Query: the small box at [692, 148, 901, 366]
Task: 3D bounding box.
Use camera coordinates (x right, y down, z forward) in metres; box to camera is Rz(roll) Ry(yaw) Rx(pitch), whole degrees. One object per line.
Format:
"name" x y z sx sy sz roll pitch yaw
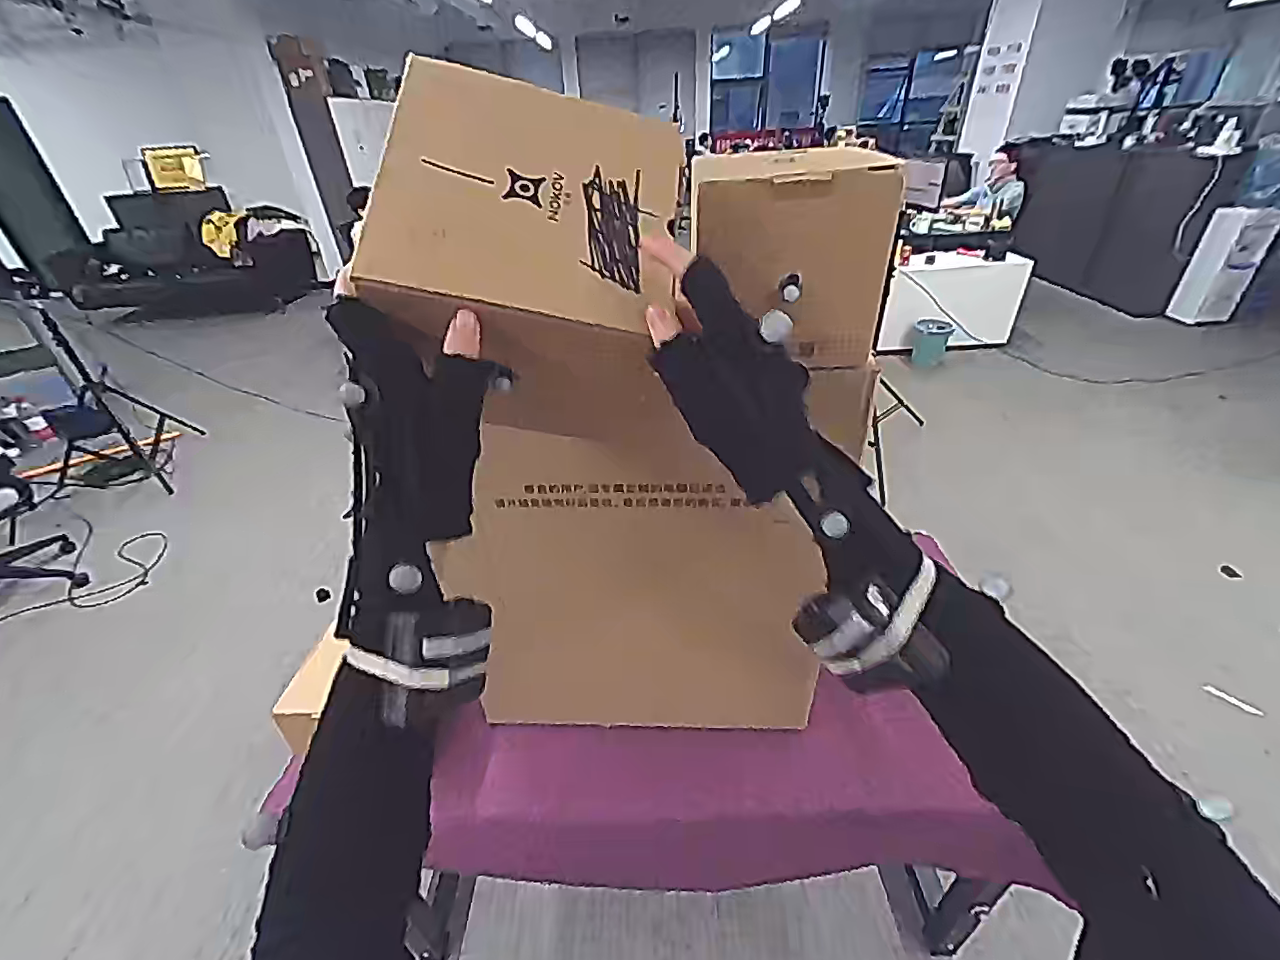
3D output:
"small box" 0.138 -0.222 0.546 0.168 0.176 0.179 -1 36 5

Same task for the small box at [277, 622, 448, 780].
"small box" -0.422 0.350 0.862 0.168 0.176 0.179 1 31 2
